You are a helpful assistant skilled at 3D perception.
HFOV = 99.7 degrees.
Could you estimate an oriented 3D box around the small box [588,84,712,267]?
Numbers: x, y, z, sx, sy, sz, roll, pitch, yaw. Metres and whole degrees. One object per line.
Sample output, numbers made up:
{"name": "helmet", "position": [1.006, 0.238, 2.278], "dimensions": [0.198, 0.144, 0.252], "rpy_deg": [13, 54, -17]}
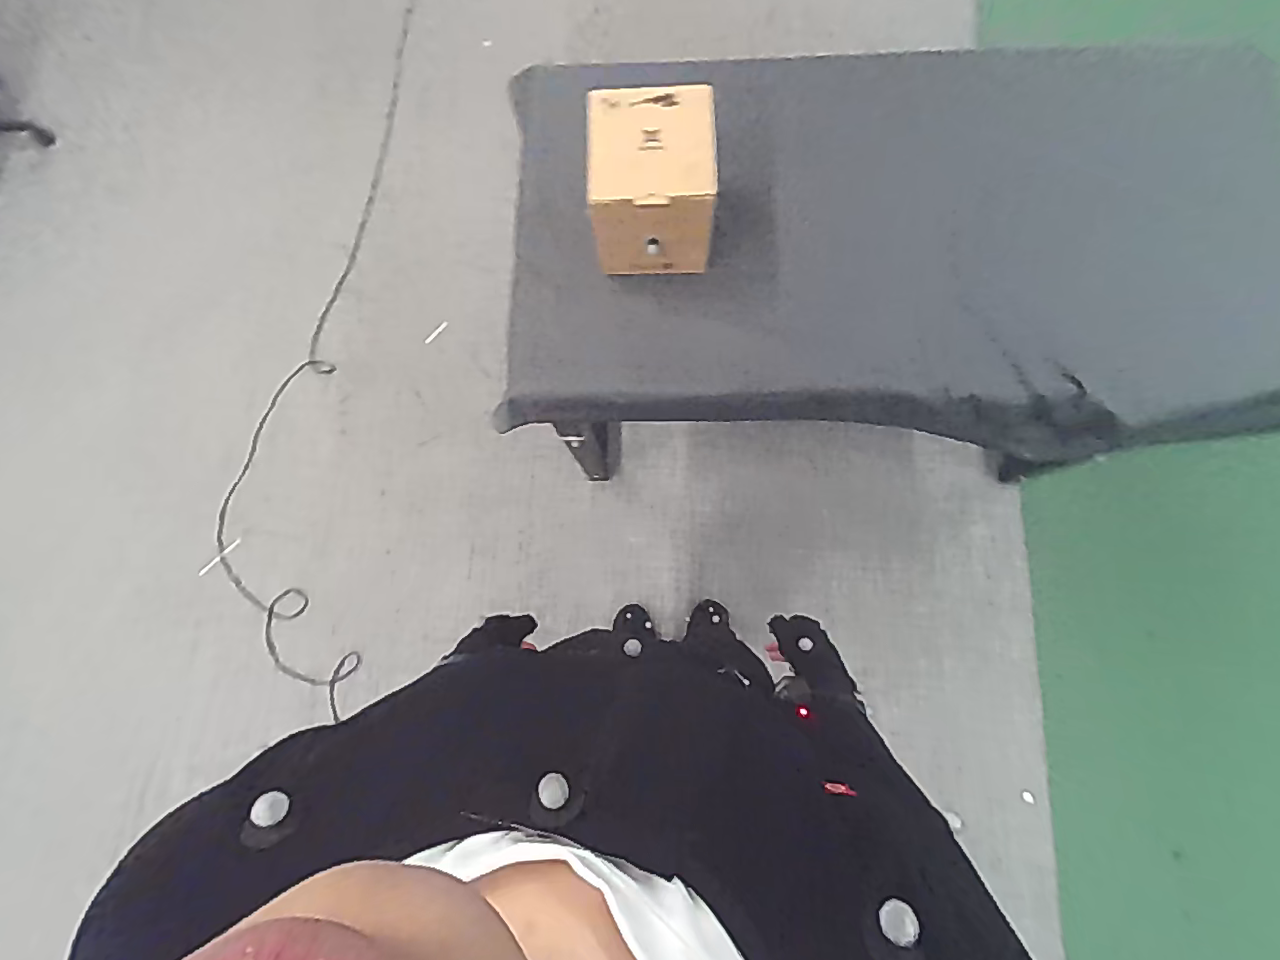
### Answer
{"name": "small box", "position": [0.019, -0.430, 0.793], "dimensions": [0.168, 0.176, 0.179], "rpy_deg": [-1, 79, 3]}
